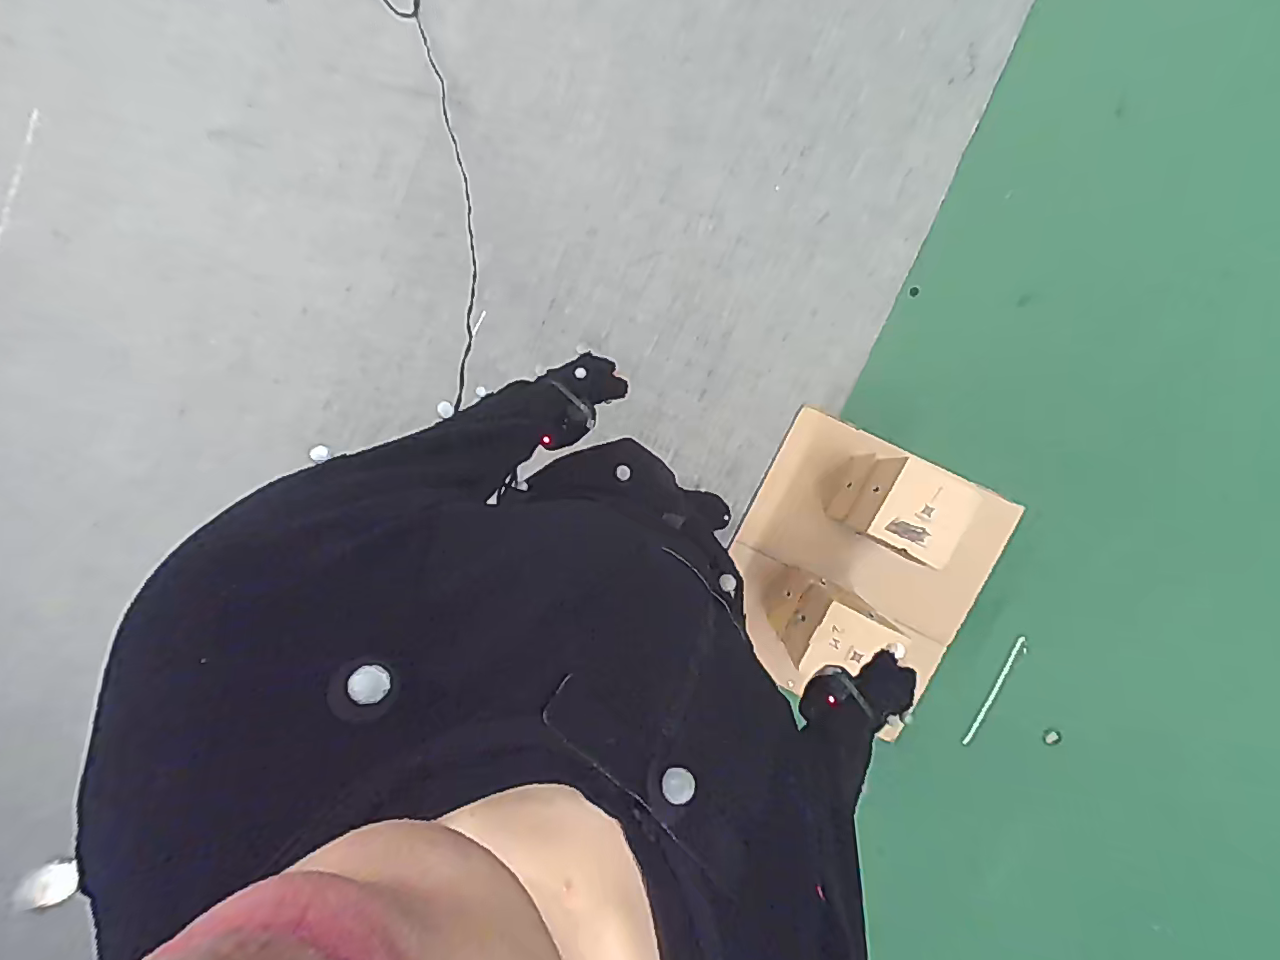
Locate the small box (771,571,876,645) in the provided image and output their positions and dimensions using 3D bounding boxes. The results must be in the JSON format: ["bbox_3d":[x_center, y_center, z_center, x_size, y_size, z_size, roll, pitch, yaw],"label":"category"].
[{"bbox_3d":[0.445,0.340,1.338,0.179,0.176,0.168,25,94,5],"label":"small box"}]

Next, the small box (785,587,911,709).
[{"bbox_3d":[0.439,0.352,1.172,0.179,0.176,0.168,27,94,5],"label":"small box"}]

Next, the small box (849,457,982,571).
[{"bbox_3d":[0.568,0.068,1.146,0.168,0.176,0.179,29,92,4],"label":"small box"}]
